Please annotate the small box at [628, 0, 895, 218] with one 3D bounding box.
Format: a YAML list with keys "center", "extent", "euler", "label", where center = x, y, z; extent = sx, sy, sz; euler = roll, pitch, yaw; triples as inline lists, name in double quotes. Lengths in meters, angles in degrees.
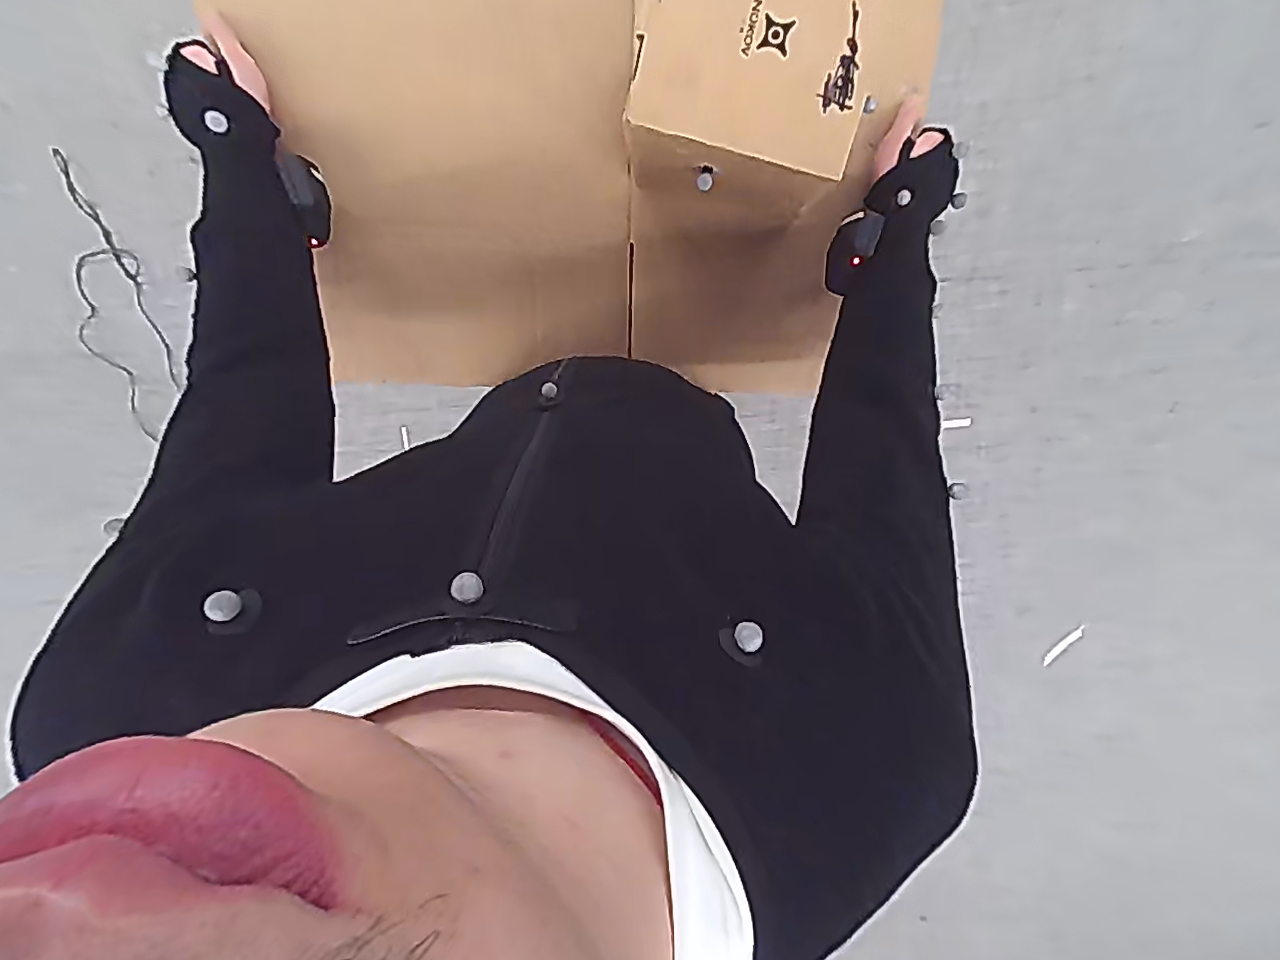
- center: [0.098, -0.353, 0.482]
  extent: [0.179, 0.176, 0.168]
  euler: [15, 105, 0]
  label: "small box"
